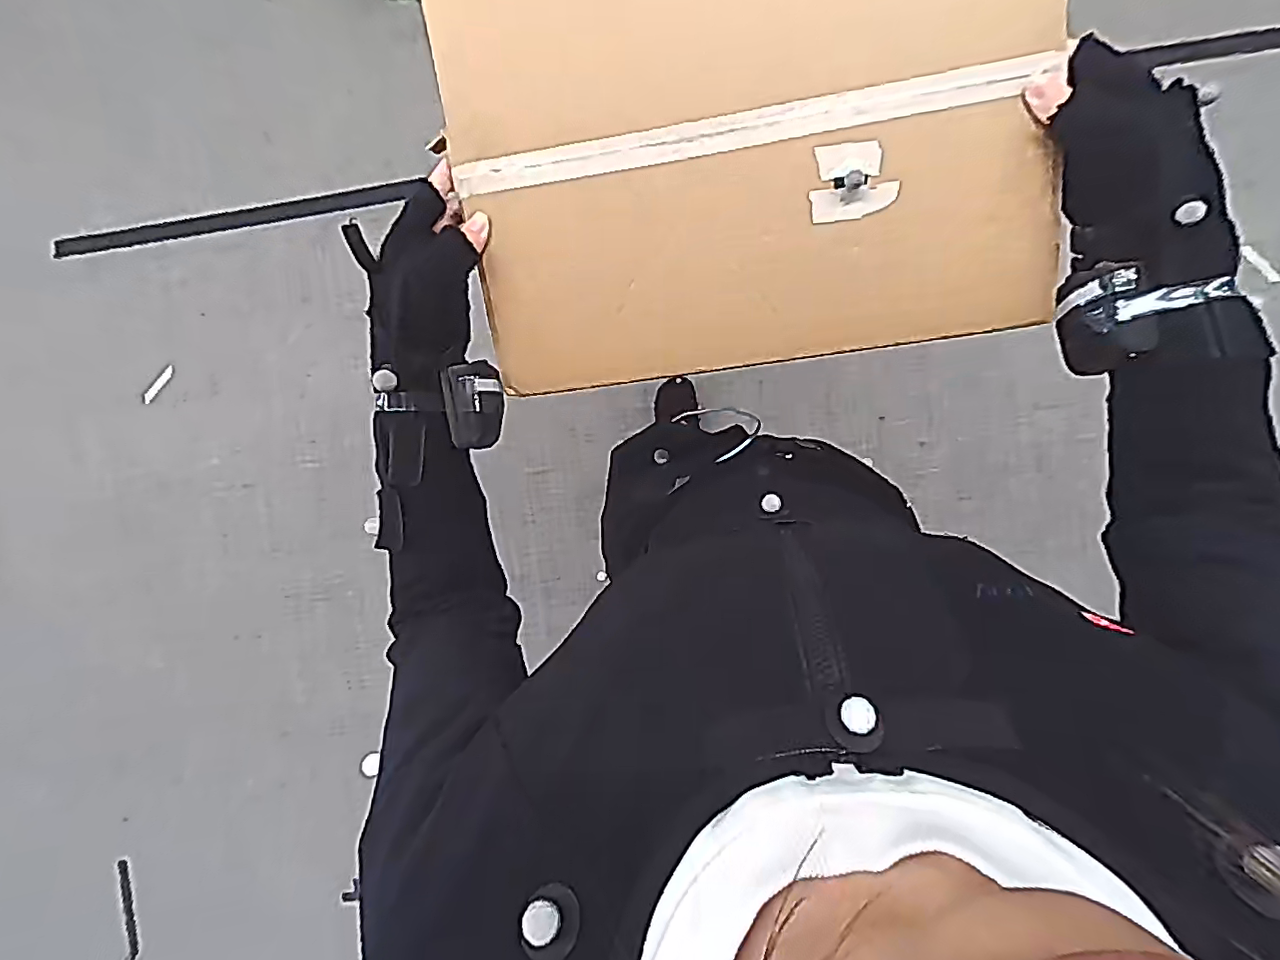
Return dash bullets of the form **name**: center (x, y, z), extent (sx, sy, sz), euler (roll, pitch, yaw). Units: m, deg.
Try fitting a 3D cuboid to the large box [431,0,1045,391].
- **large box**: center (0.078, -0.283, 0.522), extent (0.408, 0.320, 0.320), euler (-8, 105, 5)
